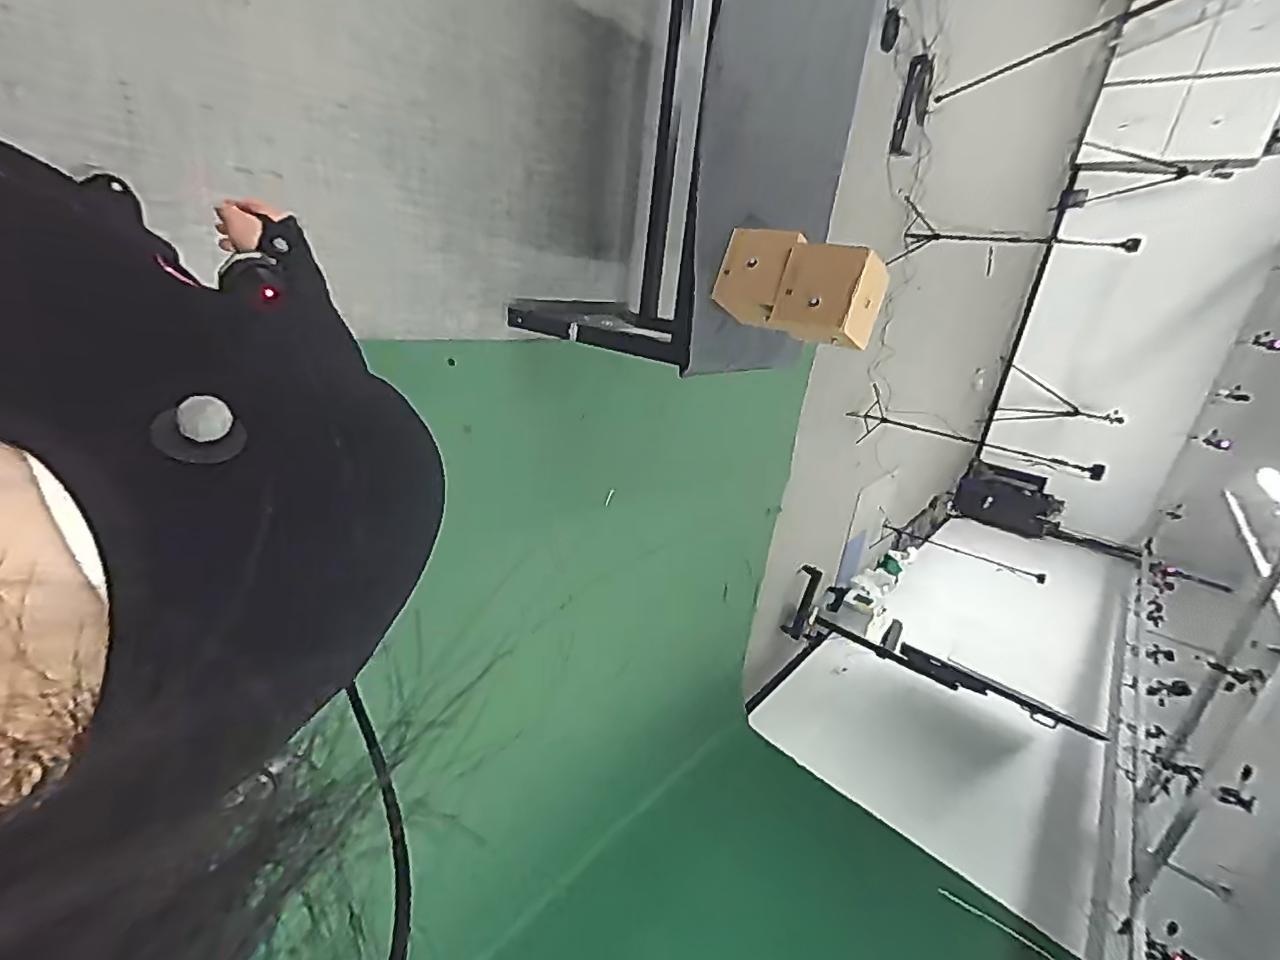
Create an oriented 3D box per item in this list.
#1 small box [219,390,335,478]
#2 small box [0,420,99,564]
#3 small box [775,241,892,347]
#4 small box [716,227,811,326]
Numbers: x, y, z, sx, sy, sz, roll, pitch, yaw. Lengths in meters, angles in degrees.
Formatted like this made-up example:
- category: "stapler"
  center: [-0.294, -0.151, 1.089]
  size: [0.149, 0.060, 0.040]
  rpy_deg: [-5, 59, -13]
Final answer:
- category: "small box"
  center: [-0.841, -0.096, 1.280]
  size: [0.168, 0.176, 0.179]
  rpy_deg: [-55, 142, -16]
- category: "small box"
  center: [-1.141, 0.014, 0.967]
  size: [0.168, 0.176, 0.179]
  rpy_deg: [-51, 139, -21]
- category: "small box"
  center: [0.413, -0.400, 1.162]
  size: [0.179, 0.176, 0.168]
  rpy_deg: [4, 106, -54]
- category: "small box"
  center: [0.300, -0.469, 1.259]
  size: [0.179, 0.176, 0.168]
  rpy_deg: [12, 99, -55]
